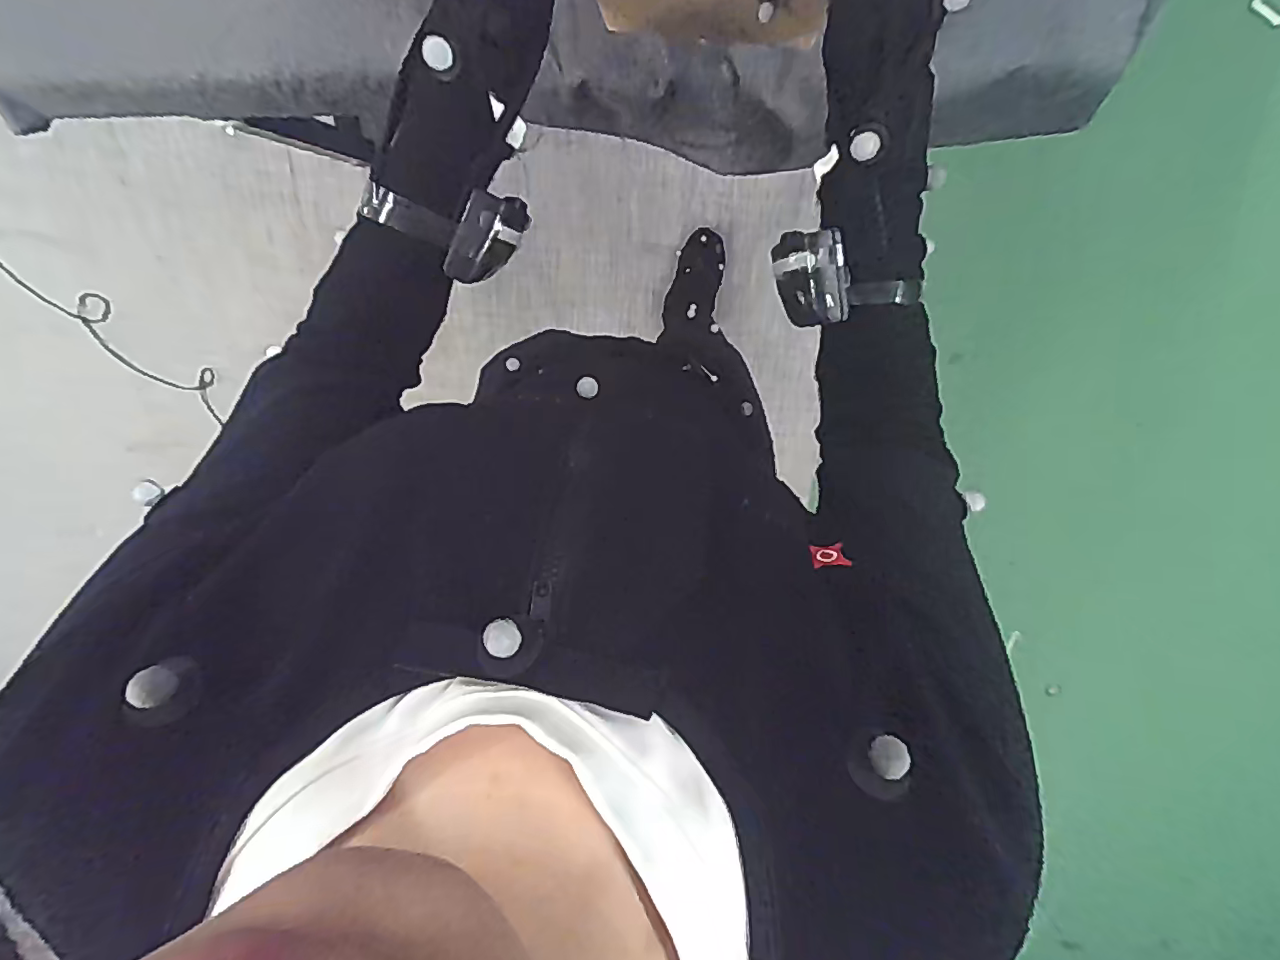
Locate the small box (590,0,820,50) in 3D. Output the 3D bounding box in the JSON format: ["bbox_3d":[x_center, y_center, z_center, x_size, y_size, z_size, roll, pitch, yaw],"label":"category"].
[{"bbox_3d":[0.052,-0.418,0.358,0.179,0.176,0.168,8,110,6],"label":"small box"}]
